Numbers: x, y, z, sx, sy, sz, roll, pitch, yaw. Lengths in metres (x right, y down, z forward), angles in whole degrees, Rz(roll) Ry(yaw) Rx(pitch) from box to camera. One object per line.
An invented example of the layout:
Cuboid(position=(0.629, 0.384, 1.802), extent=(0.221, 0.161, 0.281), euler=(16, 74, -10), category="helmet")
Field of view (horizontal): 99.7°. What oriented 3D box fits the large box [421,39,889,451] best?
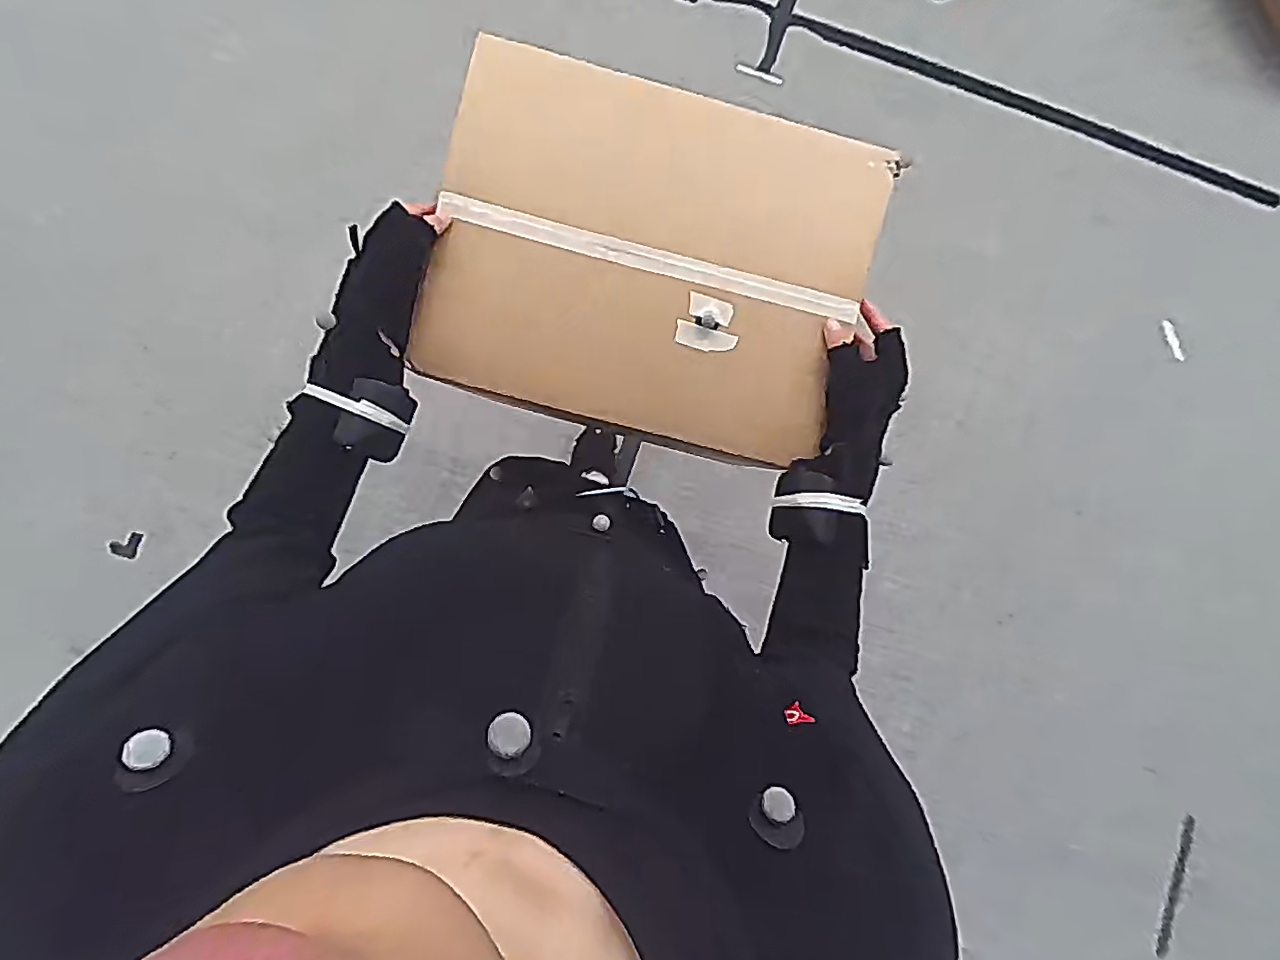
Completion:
Cuboid(position=(0.008, -0.230, 0.670), extent=(0.408, 0.320, 0.320), euler=(15, 94, -3), category="large box")
